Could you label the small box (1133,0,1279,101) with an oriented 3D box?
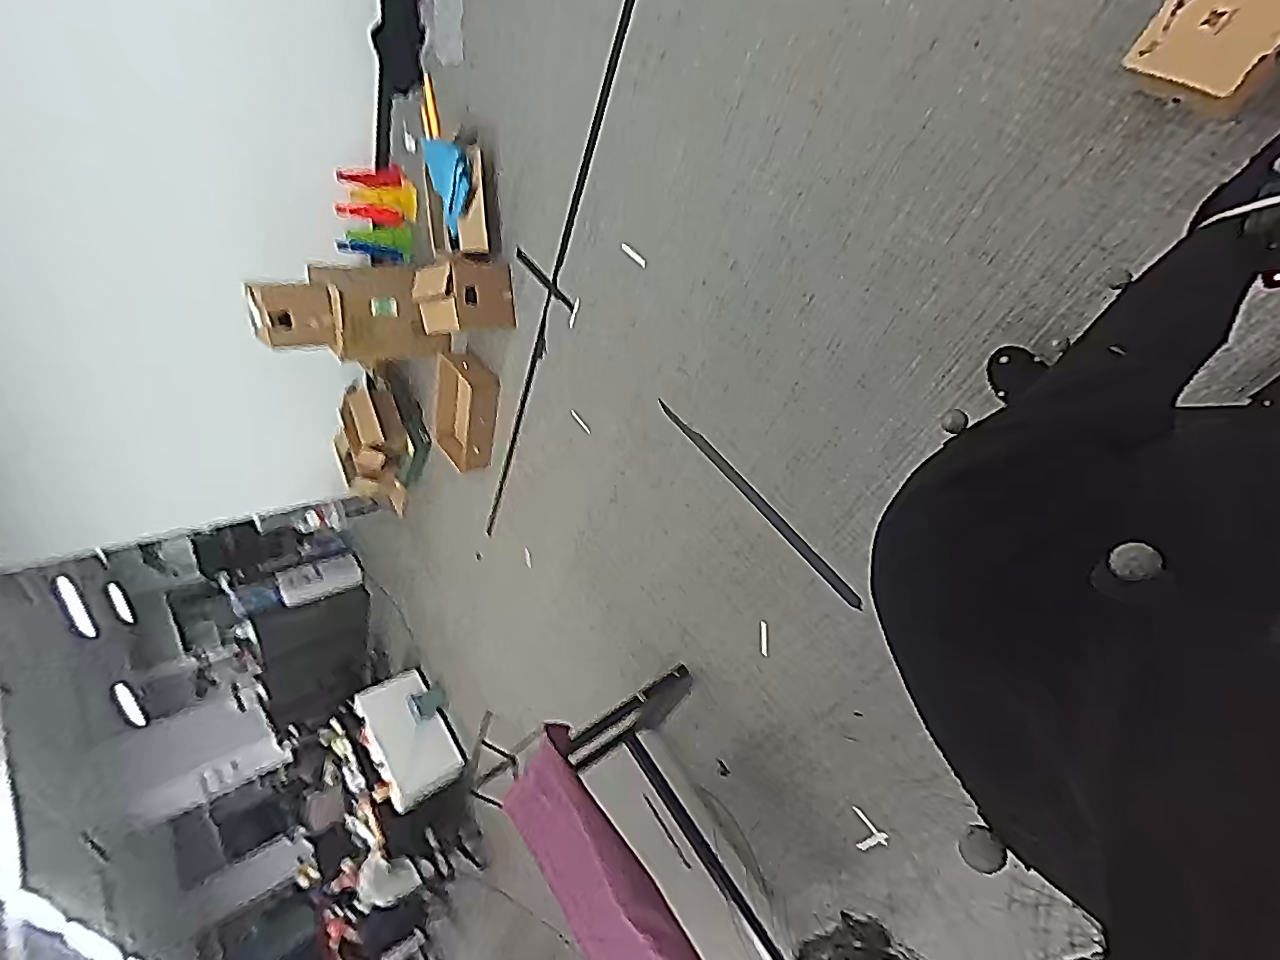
[{"bbox_3d":[0.975,-0.750,0.883,0.179,0.176,0.168,49,134,27],"label":"small box"}]
